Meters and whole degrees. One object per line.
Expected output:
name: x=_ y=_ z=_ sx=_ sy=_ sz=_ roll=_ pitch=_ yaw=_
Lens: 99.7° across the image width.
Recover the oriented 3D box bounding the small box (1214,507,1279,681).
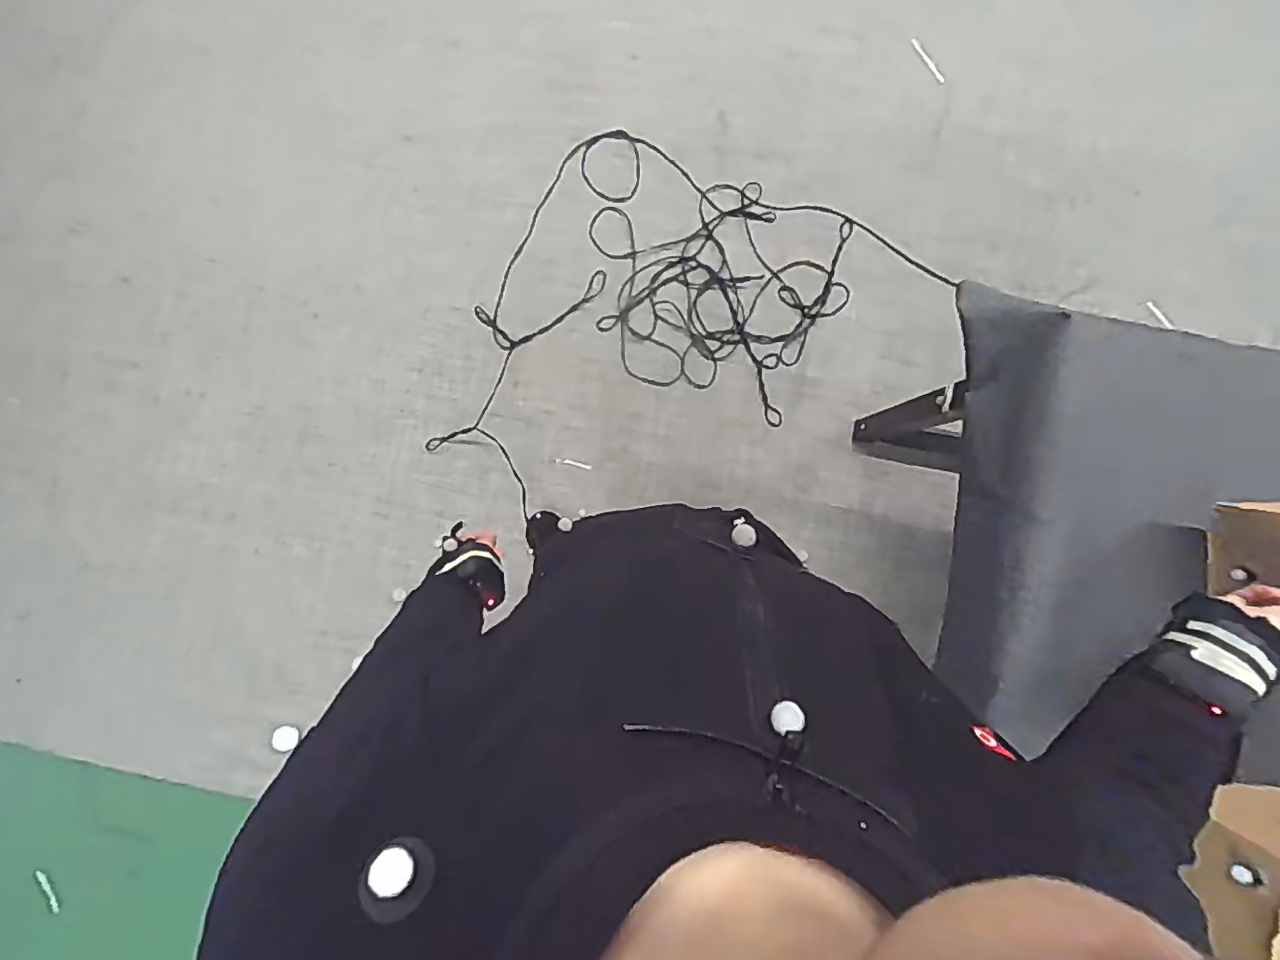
small box: x=0.694 y=0.112 z=0.491 sx=0.179 sy=0.176 sz=0.168 roll=-1 pitch=92 yaw=18
